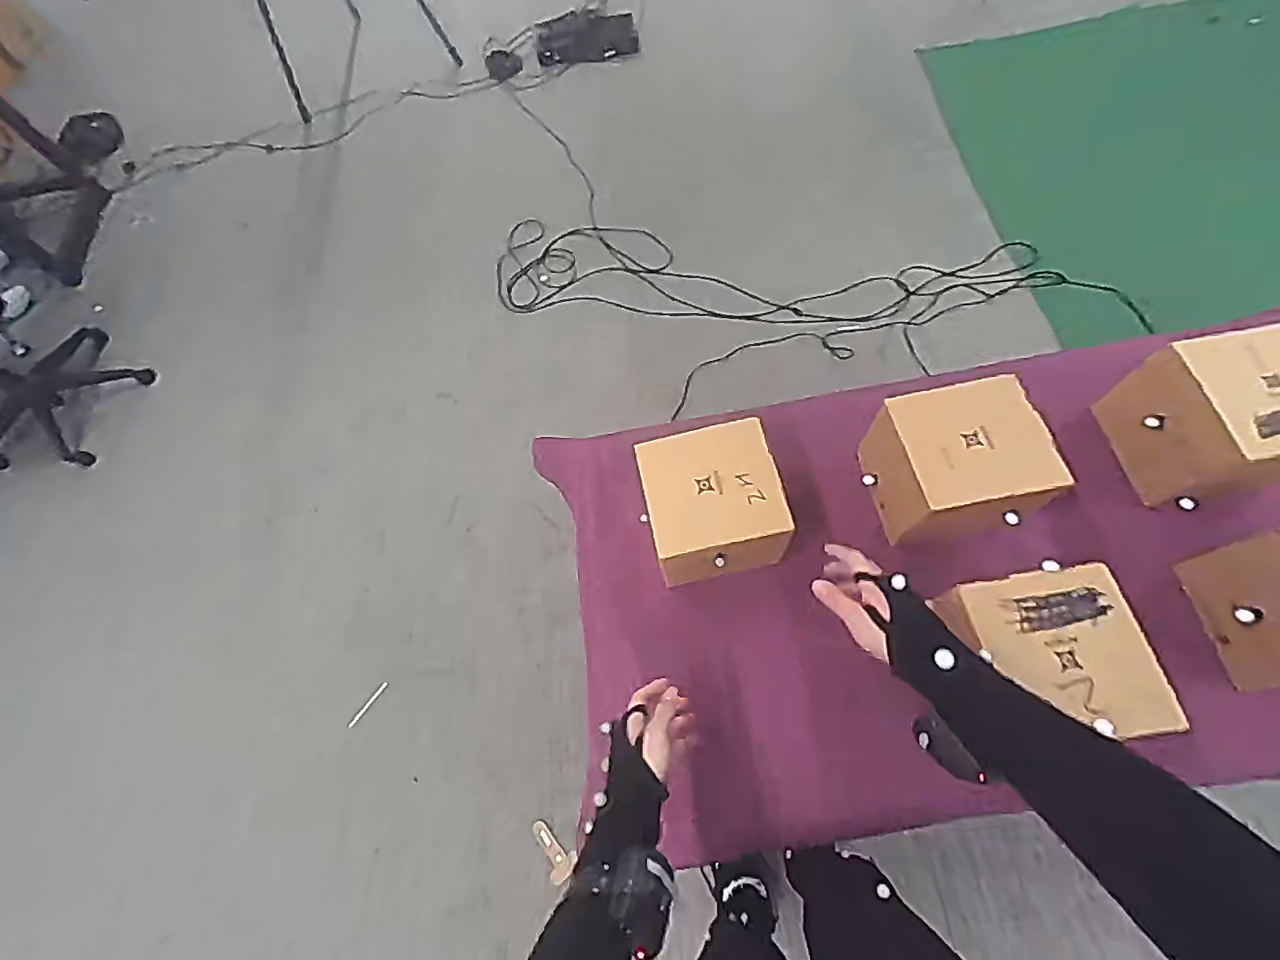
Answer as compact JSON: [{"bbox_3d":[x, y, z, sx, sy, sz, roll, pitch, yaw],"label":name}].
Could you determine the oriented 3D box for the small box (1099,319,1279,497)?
[{"bbox_3d":[0.780,-0.086,0.722,0.168,0.176,0.179,-9,66,4],"label":"small box"}]

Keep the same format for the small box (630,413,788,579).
[{"bbox_3d":[0.094,0.031,0.761,0.179,0.176,0.168,-12,66,3],"label":"small box"}]

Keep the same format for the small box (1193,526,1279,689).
[{"bbox_3d":[0.808,0.142,0.620,0.179,0.176,0.168,-8,65,5],"label":"small box"}]

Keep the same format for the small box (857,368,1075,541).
[{"bbox_3d":[0.427,-0.027,0.744,0.179,0.176,0.168,-11,66,3],"label":"small box"}]
